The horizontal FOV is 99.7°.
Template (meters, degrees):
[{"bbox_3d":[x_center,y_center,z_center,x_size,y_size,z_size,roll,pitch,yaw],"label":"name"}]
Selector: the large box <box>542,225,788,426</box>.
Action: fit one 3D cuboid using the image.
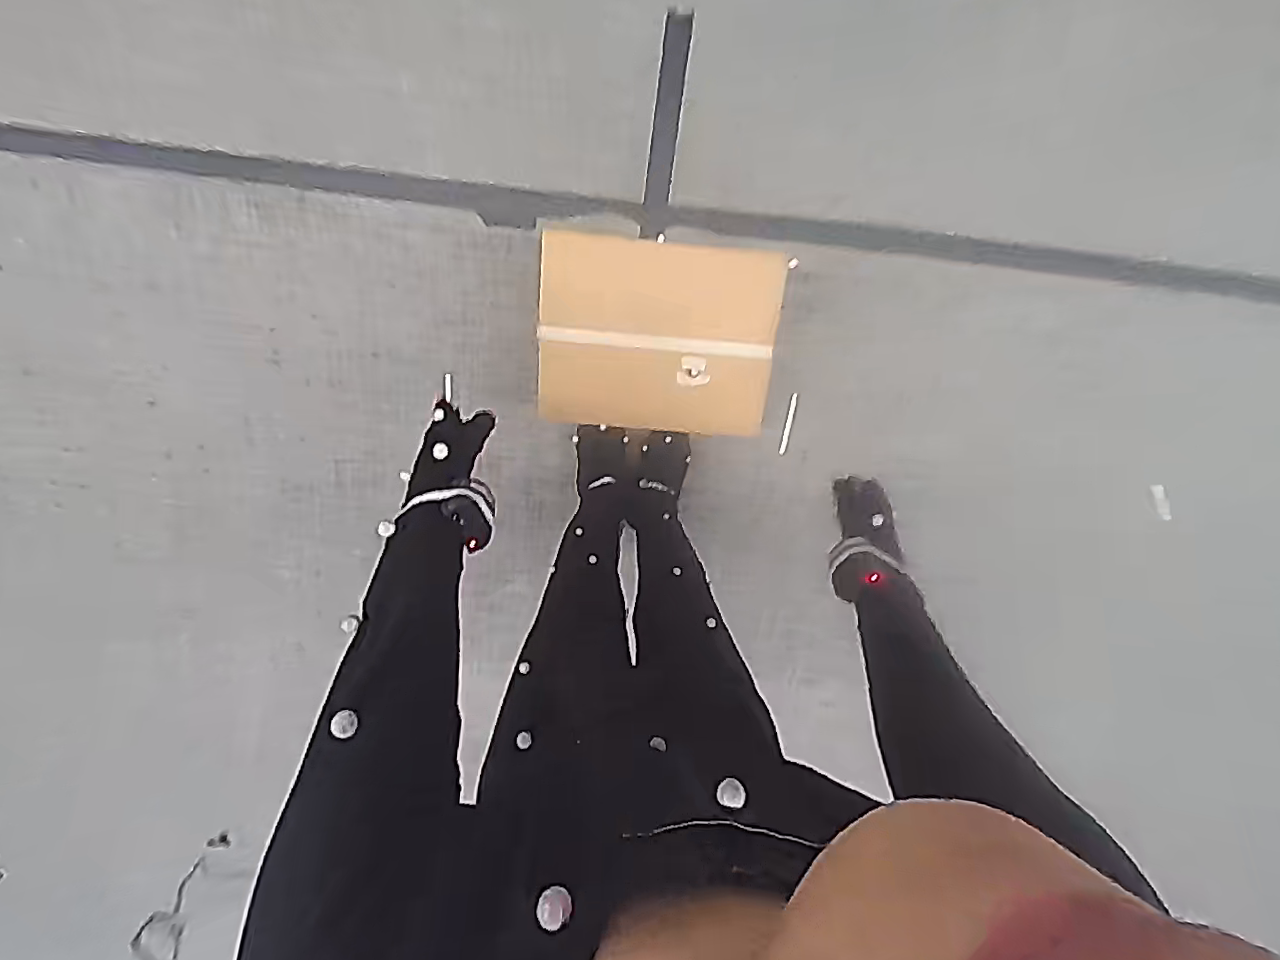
[{"bbox_3d":[0.025,-0.303,1.058,0.408,0.320,0.320,4,112,-5],"label":"large box"}]
